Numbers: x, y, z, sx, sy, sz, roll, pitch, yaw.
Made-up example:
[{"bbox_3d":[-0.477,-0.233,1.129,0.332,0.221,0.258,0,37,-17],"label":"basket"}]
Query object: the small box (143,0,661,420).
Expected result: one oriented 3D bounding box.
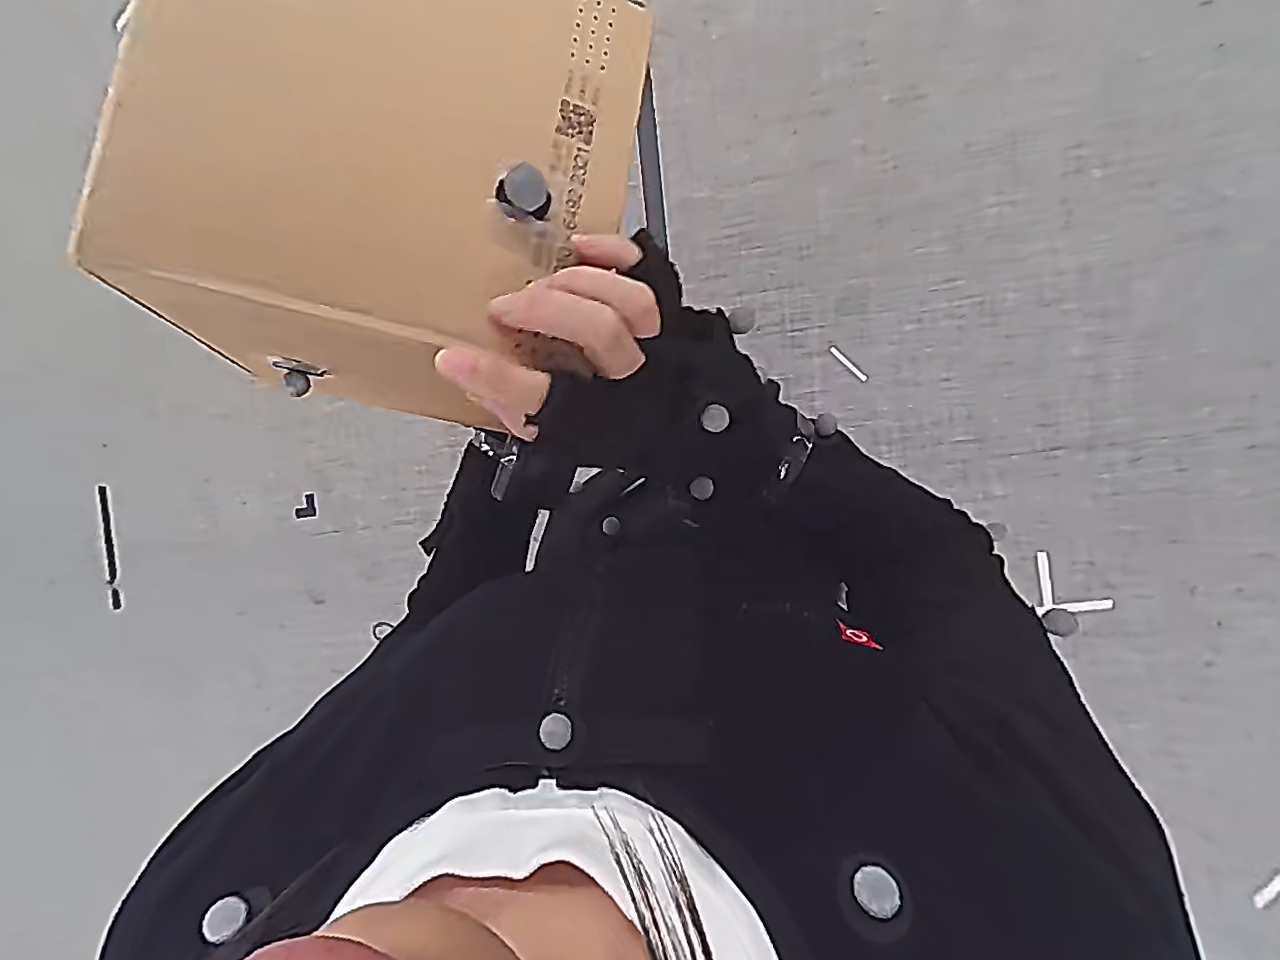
[{"bbox_3d":[-0.105,-0.136,0.294,0.176,0.179,0.168,11,85,-18],"label":"small box"}]
